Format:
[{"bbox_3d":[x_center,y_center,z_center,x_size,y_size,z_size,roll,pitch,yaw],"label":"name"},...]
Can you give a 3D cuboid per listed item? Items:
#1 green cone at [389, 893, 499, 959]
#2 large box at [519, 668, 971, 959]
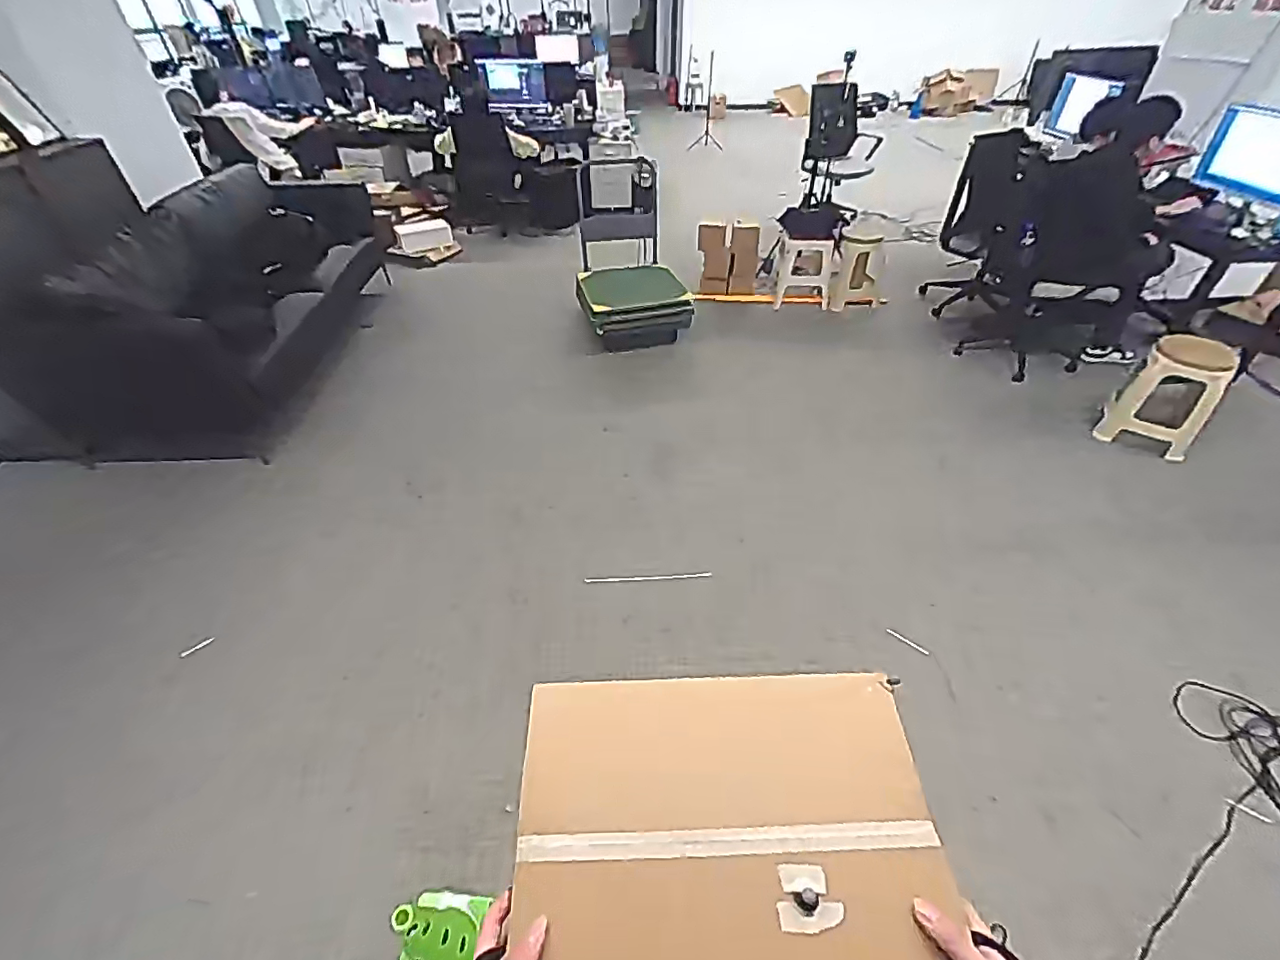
[{"bbox_3d":[-0.445,0.956,1.126,0.200,0.368,0.202,1,44,3],"label":"green cone"},{"bbox_3d":[0.087,0.442,0.645,0.408,0.320,0.320,-2,52,-1],"label":"large box"}]
